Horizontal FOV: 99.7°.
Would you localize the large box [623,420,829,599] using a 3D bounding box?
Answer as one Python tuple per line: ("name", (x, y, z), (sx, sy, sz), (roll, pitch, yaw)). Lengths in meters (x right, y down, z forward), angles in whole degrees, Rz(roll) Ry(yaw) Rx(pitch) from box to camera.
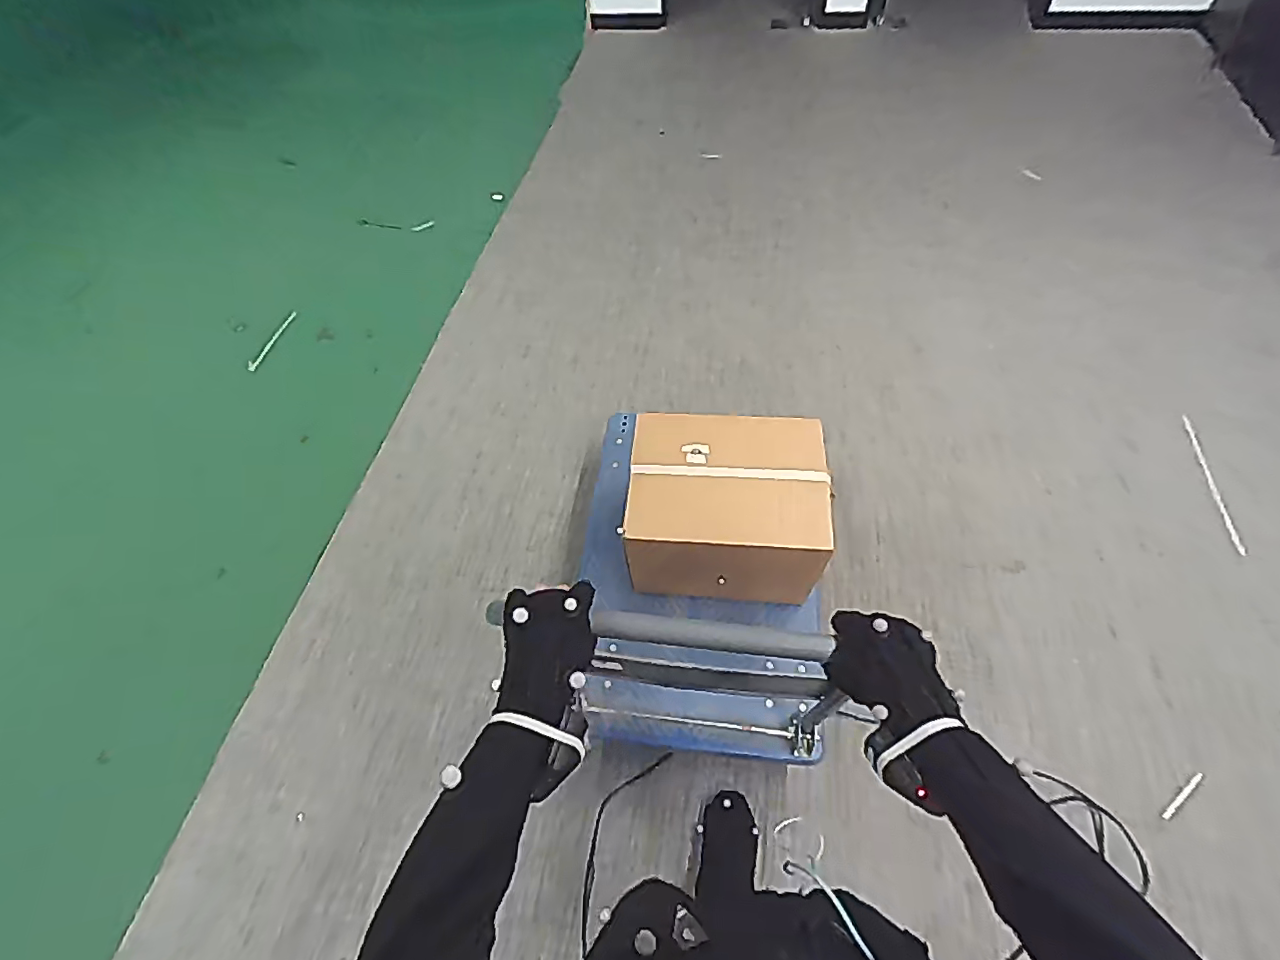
("large box", (0.191, 0.074, 1.250), (0.408, 0.320, 0.320), (2, 58, 8))
